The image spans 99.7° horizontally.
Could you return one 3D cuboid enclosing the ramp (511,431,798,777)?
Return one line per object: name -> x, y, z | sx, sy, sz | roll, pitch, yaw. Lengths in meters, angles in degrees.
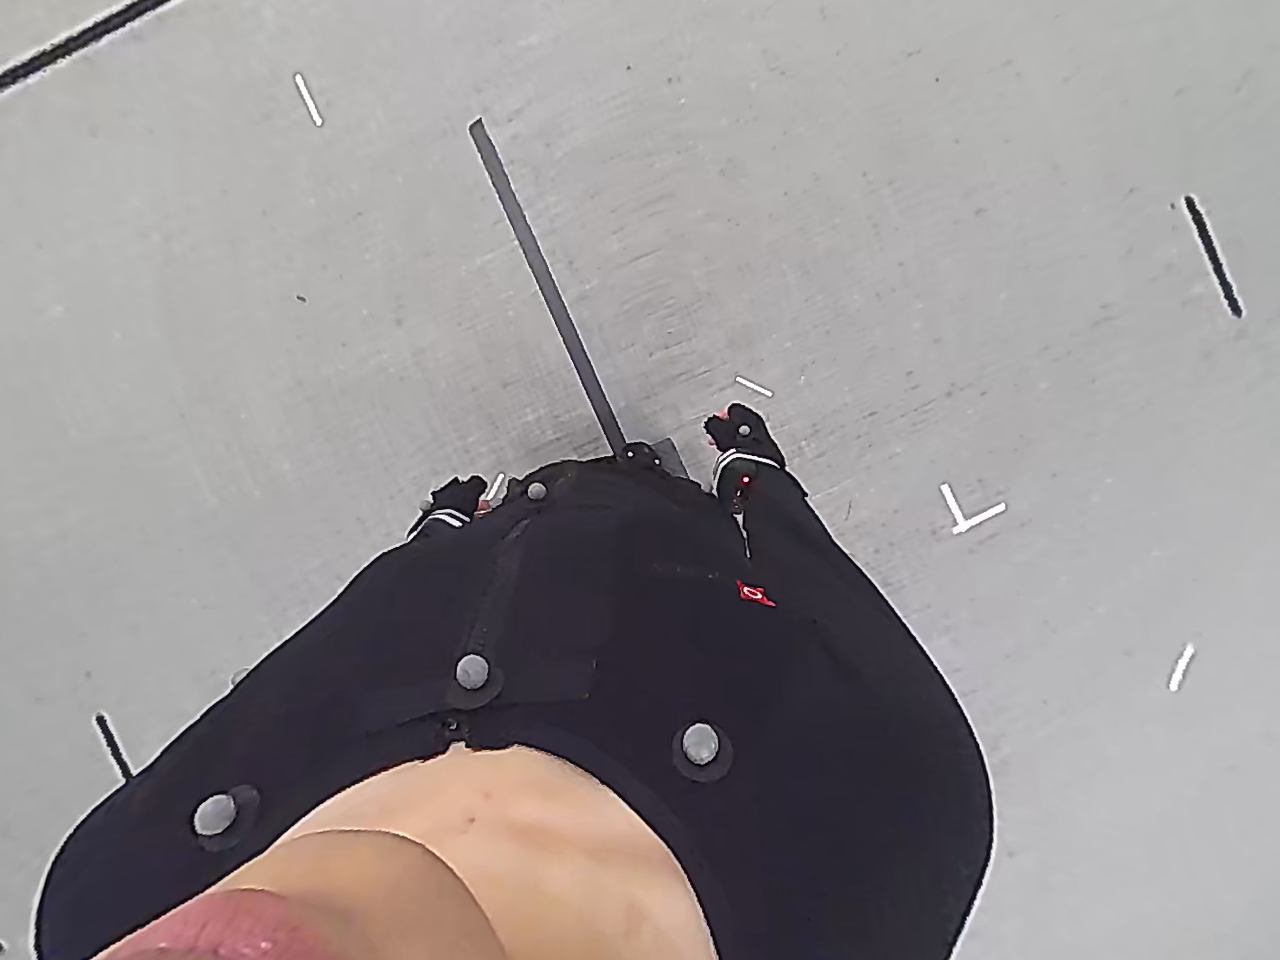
ramp -> 0.074, 0.400, 1.583 | 0.509, 0.206, 0.991 | -27, 93, 1
